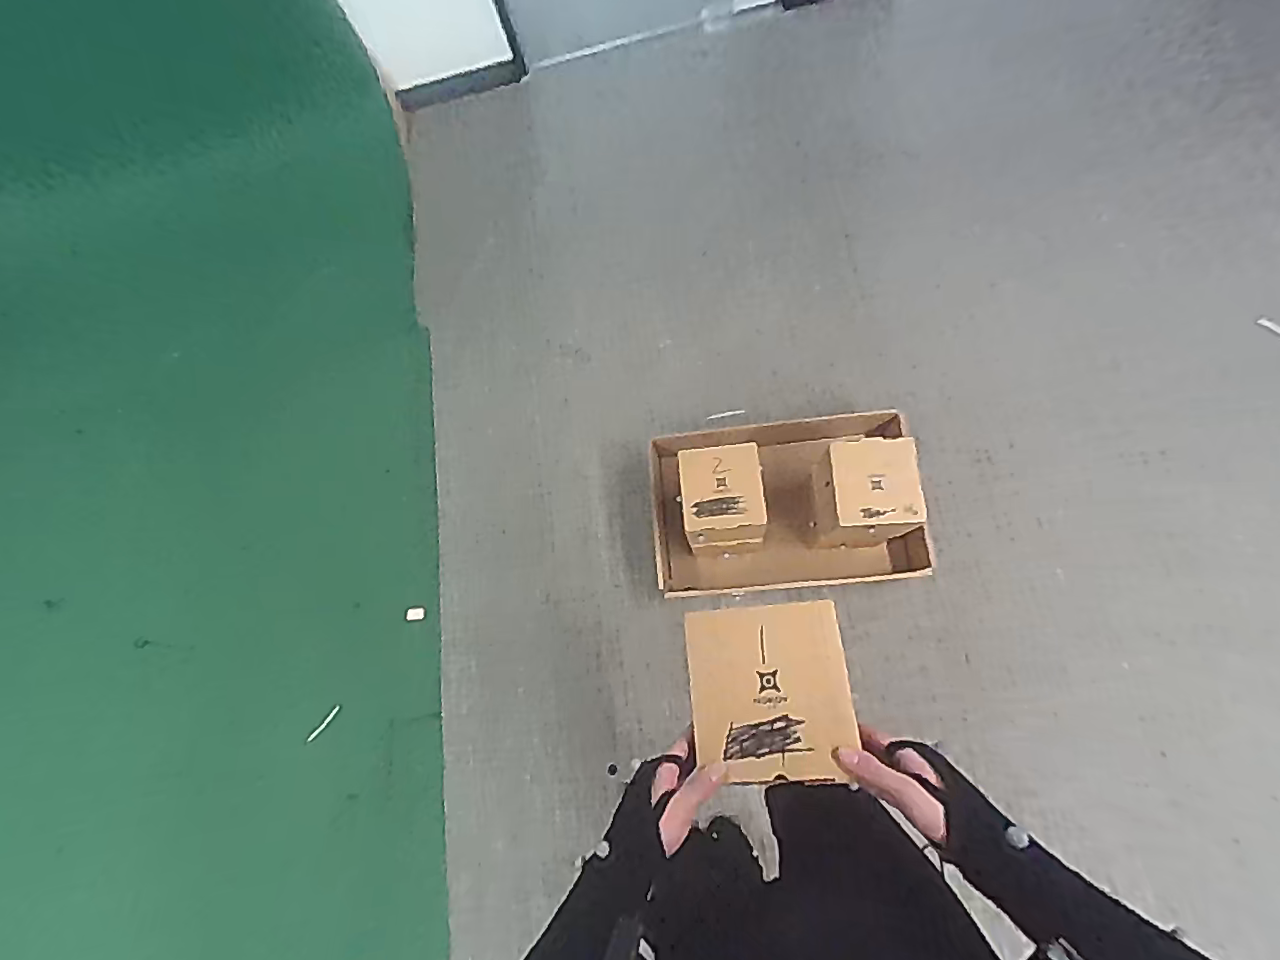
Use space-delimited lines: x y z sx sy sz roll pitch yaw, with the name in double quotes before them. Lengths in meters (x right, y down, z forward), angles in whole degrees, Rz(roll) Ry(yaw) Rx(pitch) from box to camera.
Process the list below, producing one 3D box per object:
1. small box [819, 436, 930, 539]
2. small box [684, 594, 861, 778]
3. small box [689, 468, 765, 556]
"small box" 0.479 0.021 1.131 0.168 0.176 0.179 -3 74 8
"small box" 0.149 0.240 0.639 0.168 0.176 0.179 -7 67 9
"small box" 0.209 0.084 1.328 0.168 0.176 0.179 -5 73 7
